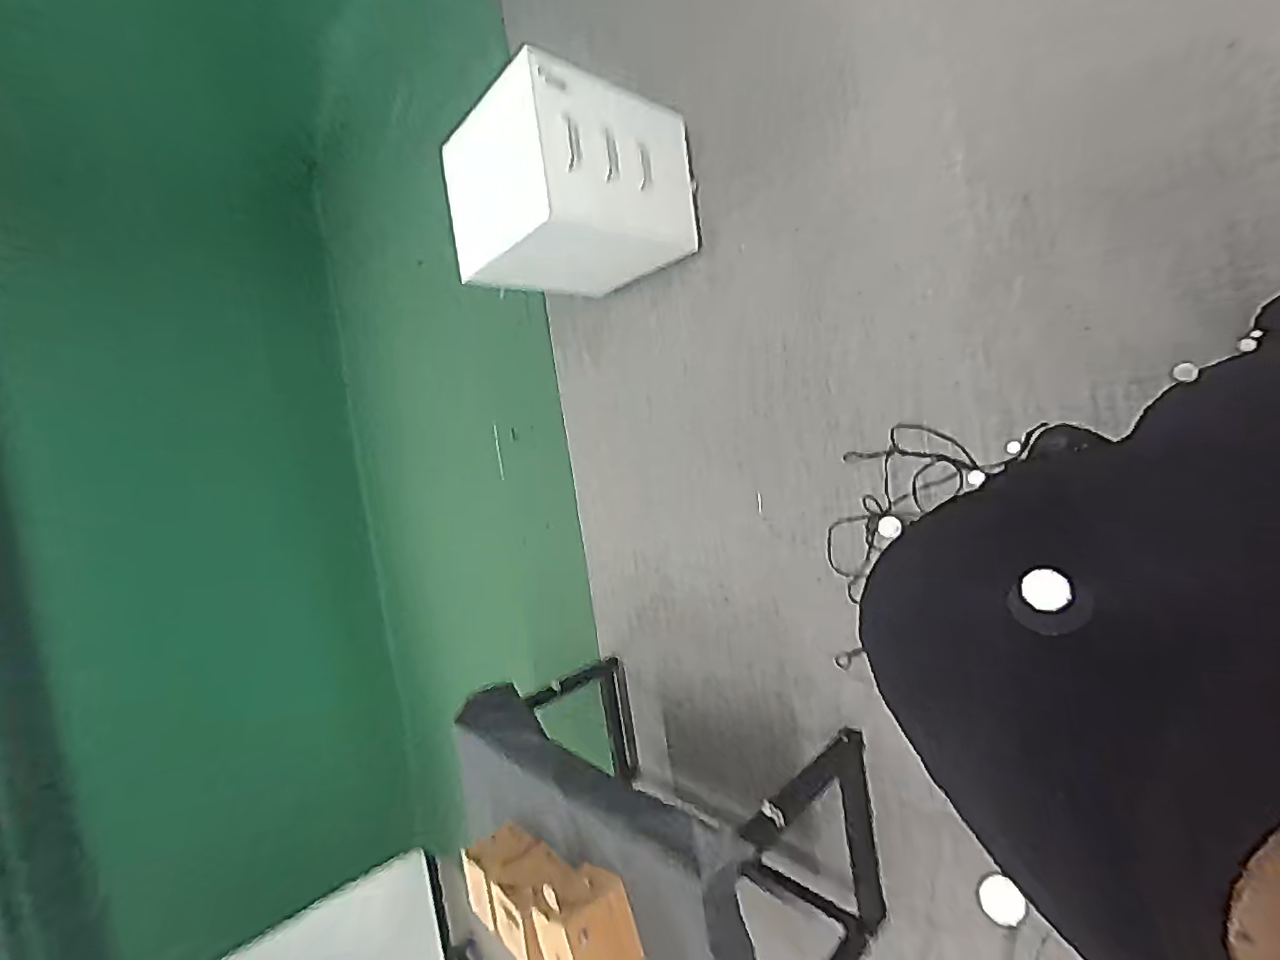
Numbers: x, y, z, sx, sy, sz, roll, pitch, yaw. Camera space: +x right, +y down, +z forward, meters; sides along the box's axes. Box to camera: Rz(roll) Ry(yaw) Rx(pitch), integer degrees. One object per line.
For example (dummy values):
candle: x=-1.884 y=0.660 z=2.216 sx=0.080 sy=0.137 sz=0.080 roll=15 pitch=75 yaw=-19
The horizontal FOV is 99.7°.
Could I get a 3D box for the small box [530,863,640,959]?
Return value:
small box: x=-0.124 y=1.036 z=1.246 sx=0.168 sy=0.176 sz=0.179 roll=-28 pitch=77 yaw=48
